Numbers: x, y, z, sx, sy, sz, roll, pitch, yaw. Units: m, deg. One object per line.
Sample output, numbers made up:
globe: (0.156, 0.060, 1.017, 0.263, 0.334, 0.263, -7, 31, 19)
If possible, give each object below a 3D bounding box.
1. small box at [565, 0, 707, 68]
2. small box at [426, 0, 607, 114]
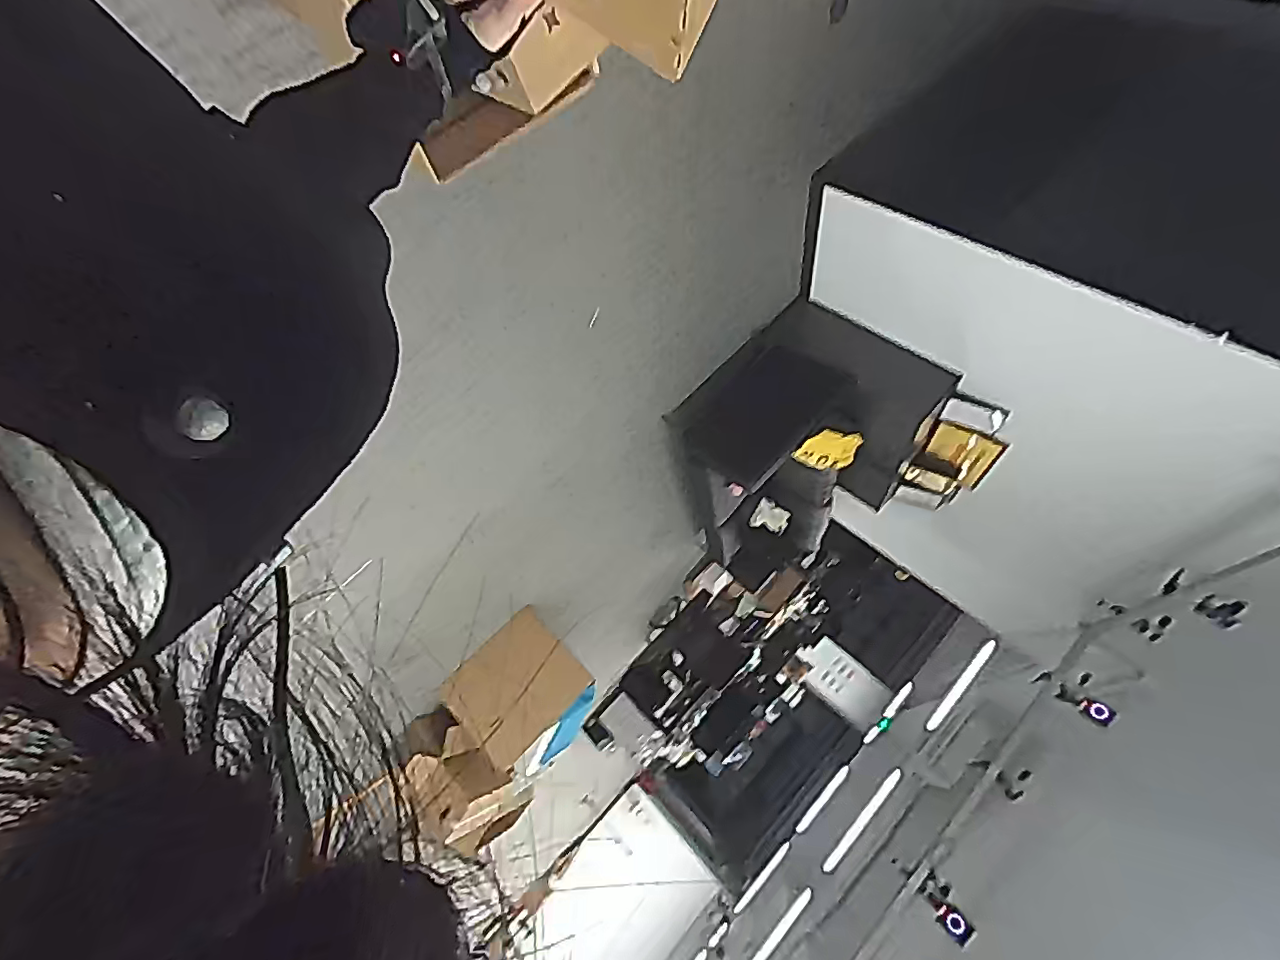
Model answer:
small box: (-0.005, -0.430, 0.349, 0.176, 0.179, 0.168, -60, -170, 18)
small box: (-0.179, -0.666, 0.753, 0.168, 0.176, 0.179, -48, 153, -8)
